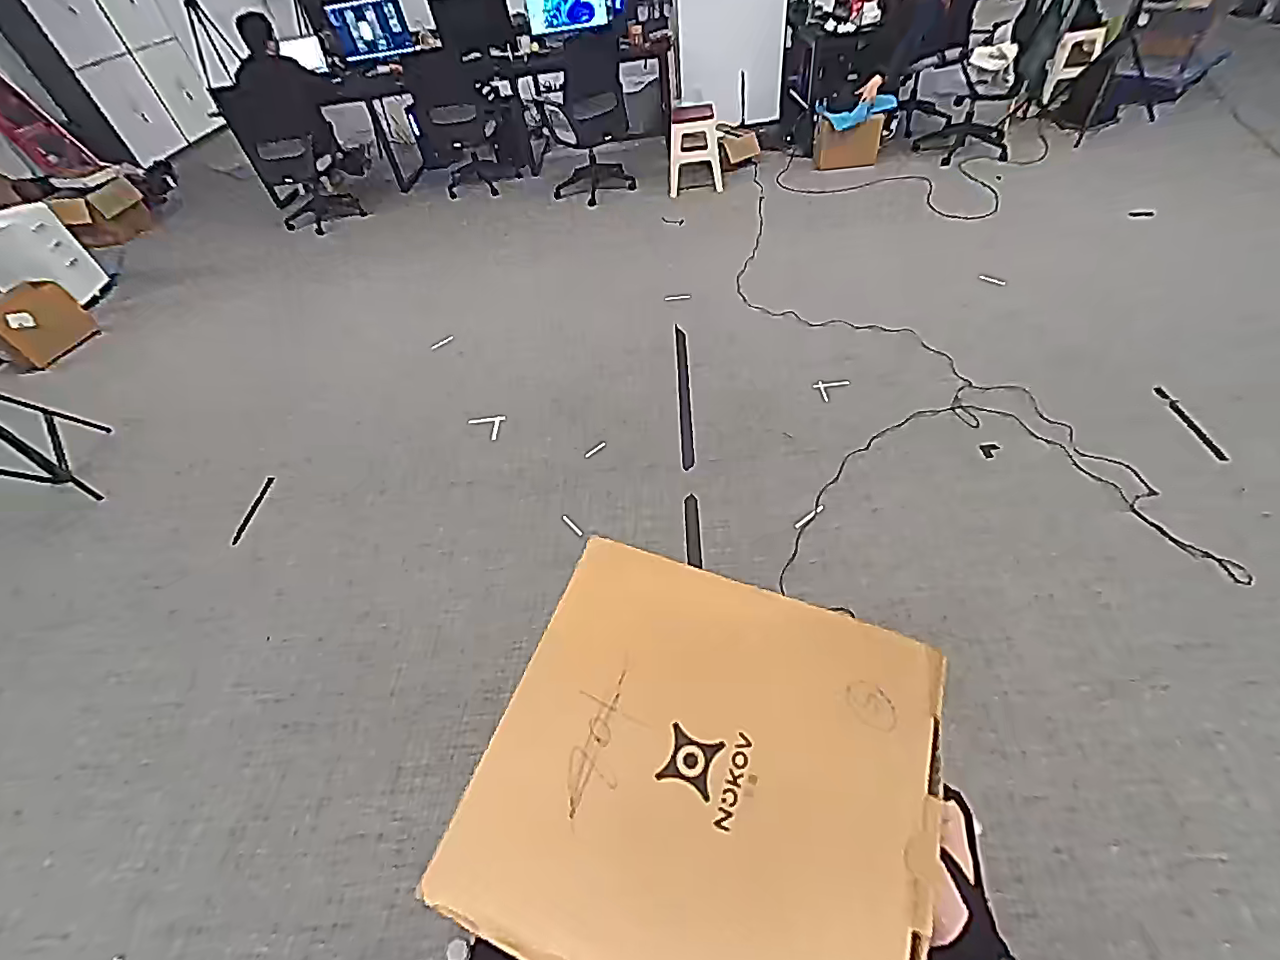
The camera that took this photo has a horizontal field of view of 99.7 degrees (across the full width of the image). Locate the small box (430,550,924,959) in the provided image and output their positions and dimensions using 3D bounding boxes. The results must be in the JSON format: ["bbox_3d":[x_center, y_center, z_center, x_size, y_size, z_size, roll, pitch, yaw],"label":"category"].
[{"bbox_3d":[0.030,0.168,0.300,0.179,0.176,0.168,15,58,16],"label":"small box"}]
